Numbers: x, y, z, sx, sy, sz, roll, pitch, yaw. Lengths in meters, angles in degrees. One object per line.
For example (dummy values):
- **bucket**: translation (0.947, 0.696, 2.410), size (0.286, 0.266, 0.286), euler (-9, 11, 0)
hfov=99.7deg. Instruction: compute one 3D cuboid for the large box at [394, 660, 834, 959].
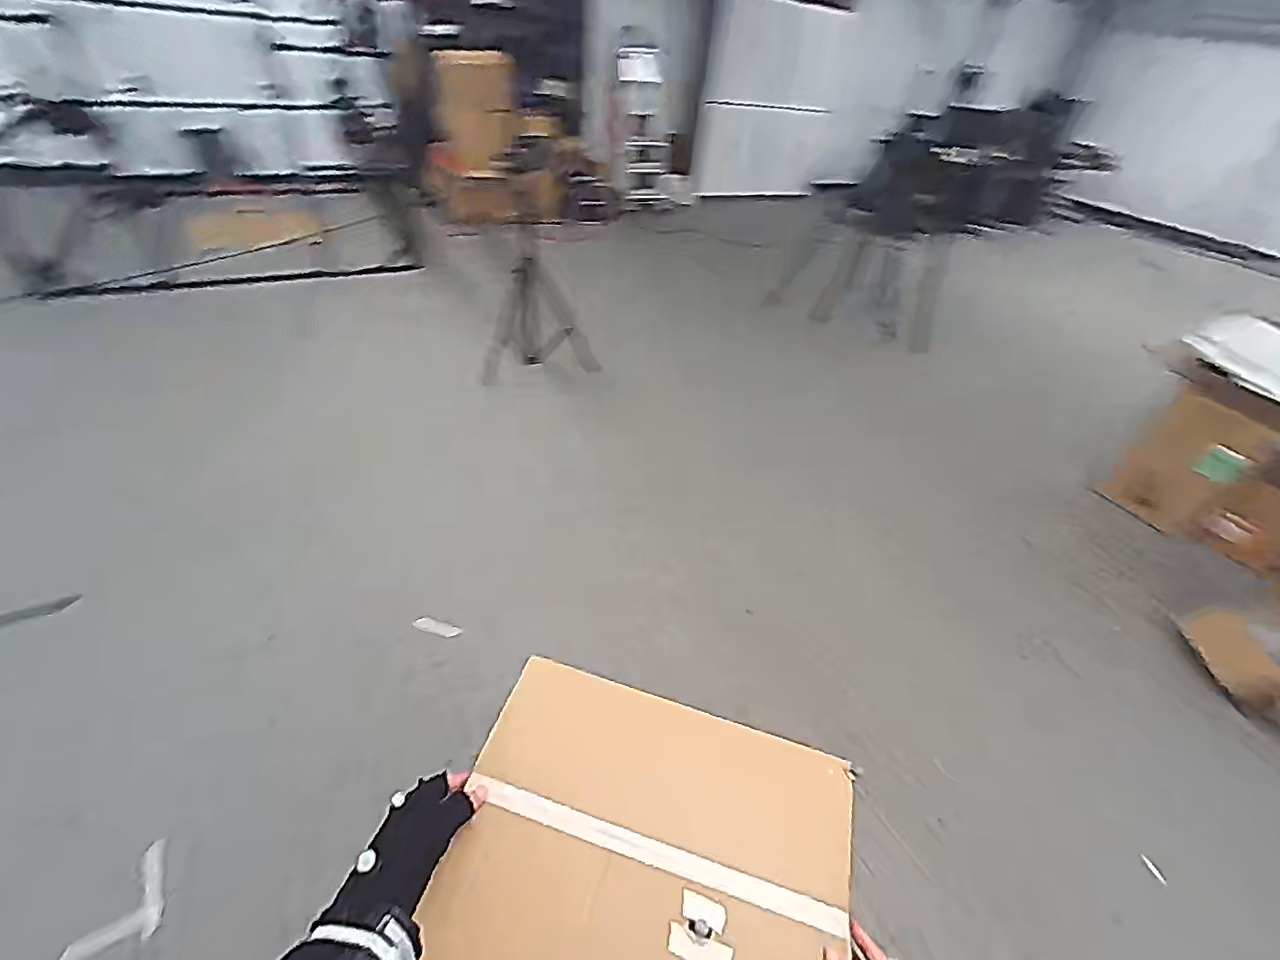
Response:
- **large box**: translation (-0.011, 0.484, 0.671), size (0.408, 0.320, 0.320), euler (15, 45, 8)
